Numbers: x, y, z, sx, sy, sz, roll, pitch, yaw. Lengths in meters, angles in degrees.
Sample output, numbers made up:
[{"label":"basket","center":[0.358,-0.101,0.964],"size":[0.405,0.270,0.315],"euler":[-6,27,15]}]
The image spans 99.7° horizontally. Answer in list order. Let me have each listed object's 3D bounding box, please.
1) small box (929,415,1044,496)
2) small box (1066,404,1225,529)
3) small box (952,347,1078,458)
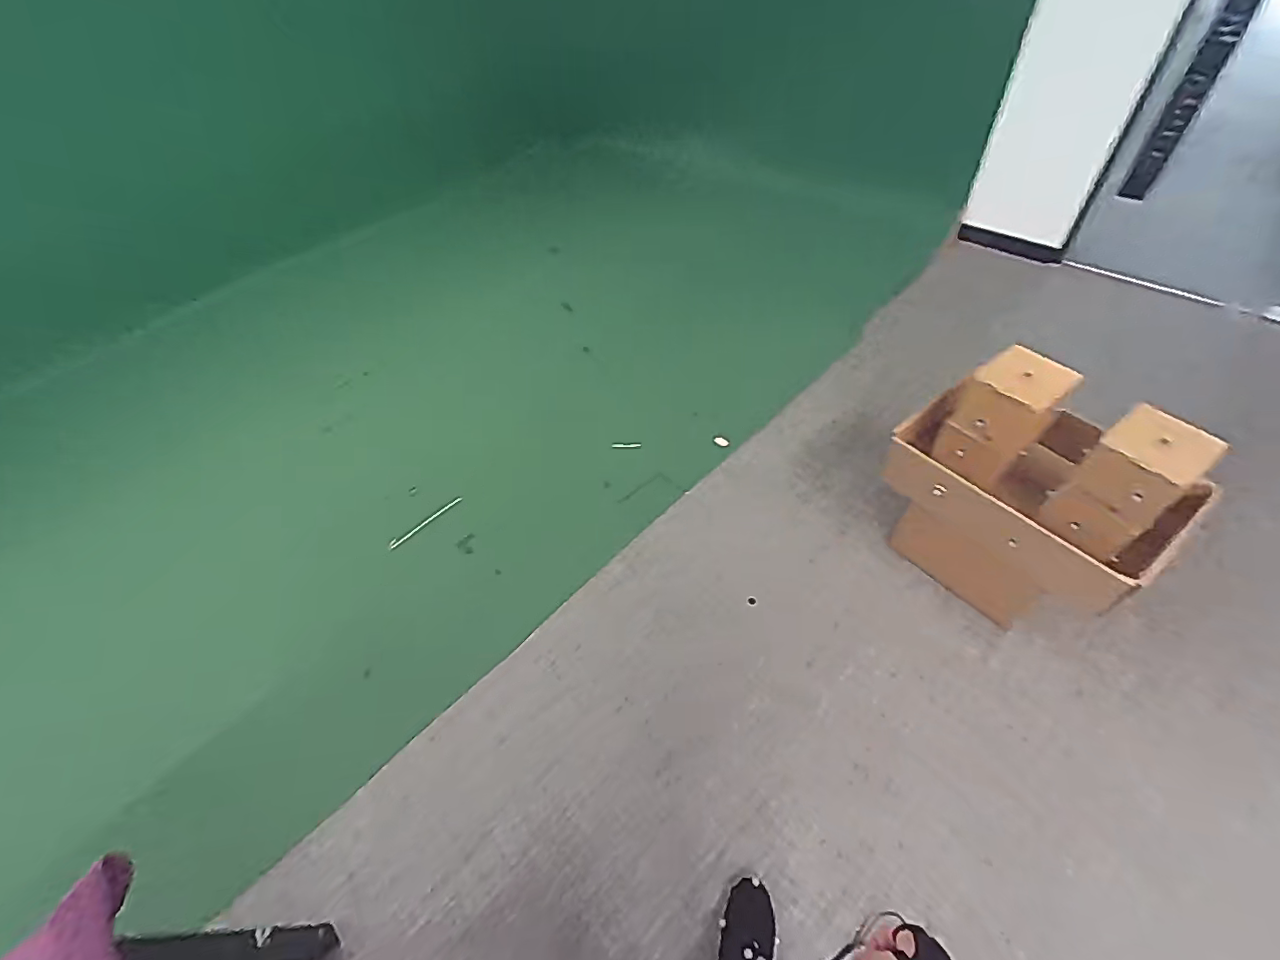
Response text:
[{"label":"small box","center":[0.927,-0.089,1.466],"size":[0.168,0.176,0.179],"euler":[-32,55,-16]},{"label":"small box","center":[1.082,-0.026,1.177],"size":[0.179,0.176,0.168],"euler":[-32,55,-18]},{"label":"small box","center":[0.914,-0.190,1.338],"size":[0.179,0.176,0.168],"euler":[-33,55,-17]}]
